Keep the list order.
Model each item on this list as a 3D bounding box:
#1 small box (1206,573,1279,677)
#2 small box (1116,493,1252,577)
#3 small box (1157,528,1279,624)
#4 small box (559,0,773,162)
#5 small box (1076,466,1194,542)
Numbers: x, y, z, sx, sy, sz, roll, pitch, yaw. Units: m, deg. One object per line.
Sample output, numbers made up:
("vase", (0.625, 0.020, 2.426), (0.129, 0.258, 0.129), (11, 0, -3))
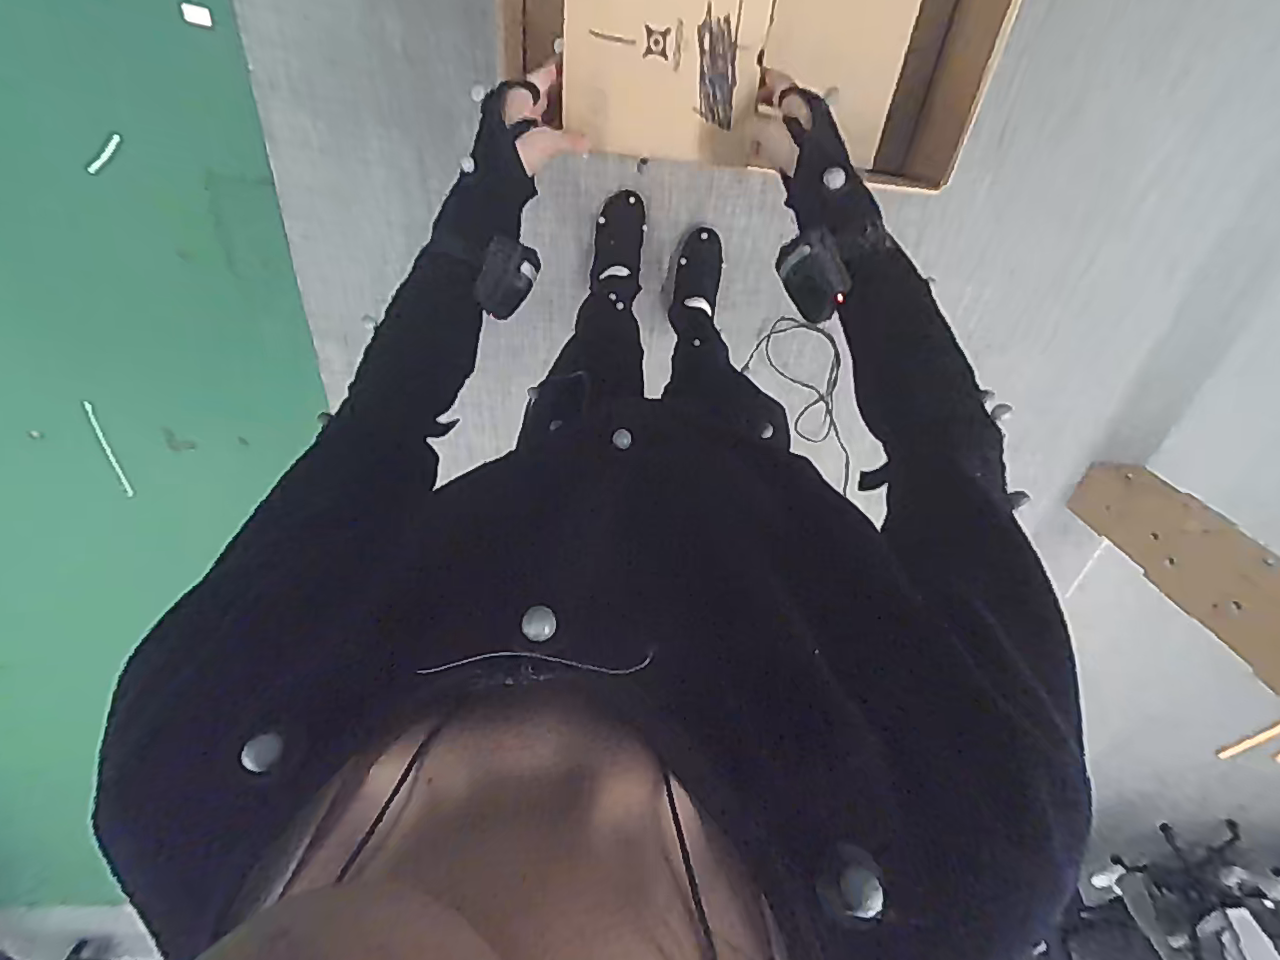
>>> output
("small box", (1.482, 0.328, 1.228), (0.179, 0.176, 0.168), (2, 122, -1))
("small box", (1.495, 0.153, 1.504), (0.168, 0.176, 0.179), (4, 123, -2))
("small box", (1.482, 0.244, 1.368), (0.168, 0.176, 0.179), (2, 123, -2))
("small box", (0.019, -0.412, 0.523), (0.179, 0.176, 0.168), (4, 120, -3))
("small box", (1.491, 0.073, 1.647), (0.168, 0.176, 0.179), (3, 123, -3))
